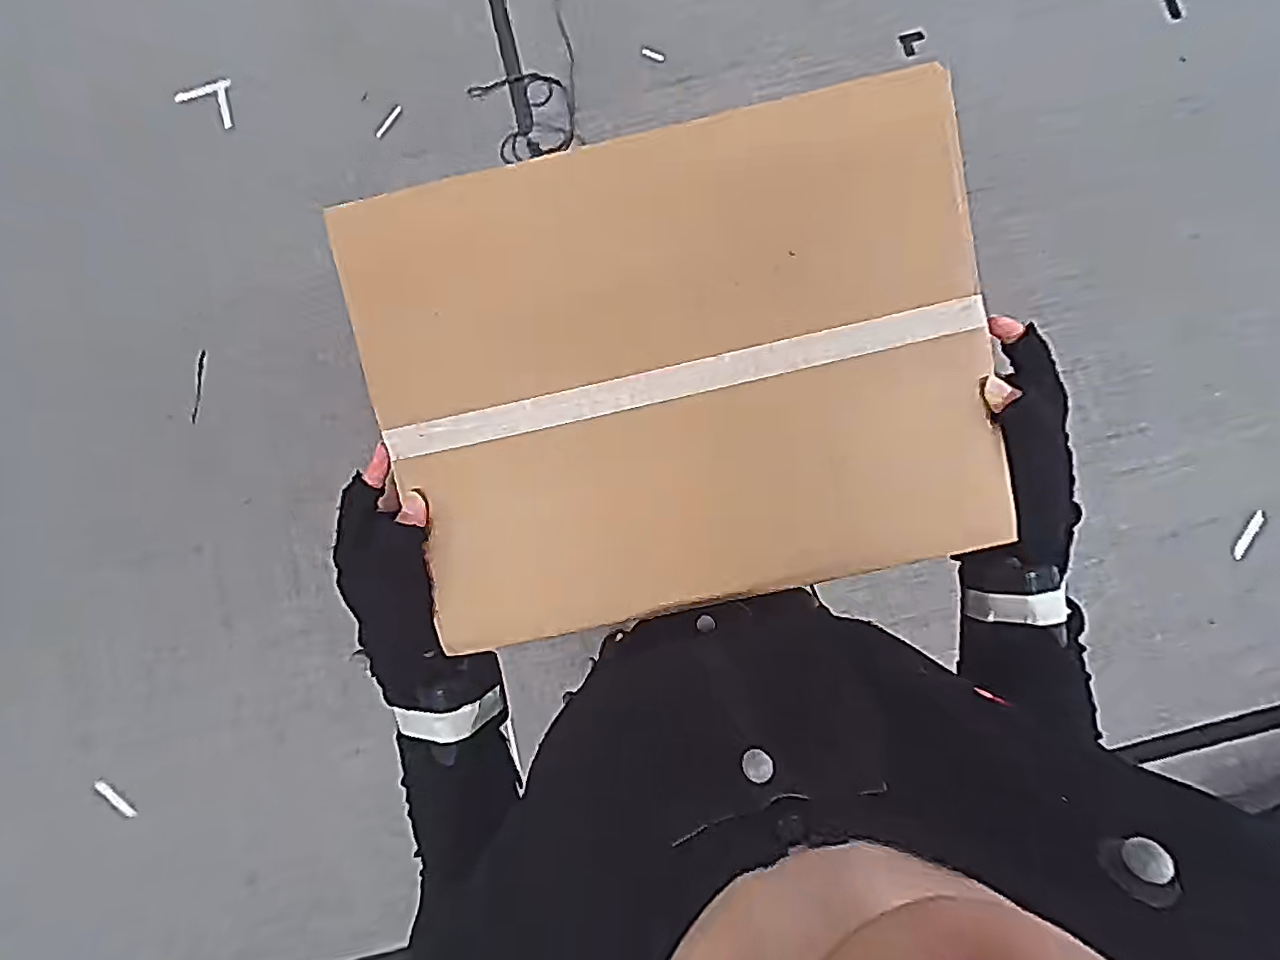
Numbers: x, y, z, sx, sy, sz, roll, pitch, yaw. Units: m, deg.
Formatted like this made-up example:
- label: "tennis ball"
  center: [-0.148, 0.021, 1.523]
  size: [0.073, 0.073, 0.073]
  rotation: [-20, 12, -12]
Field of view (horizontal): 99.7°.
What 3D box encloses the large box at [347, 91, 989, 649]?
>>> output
- label: "large box"
  center: [0.028, -0.082, 0.522]
  size: [0.408, 0.320, 0.320]
  rotation: [-12, 95, 2]
